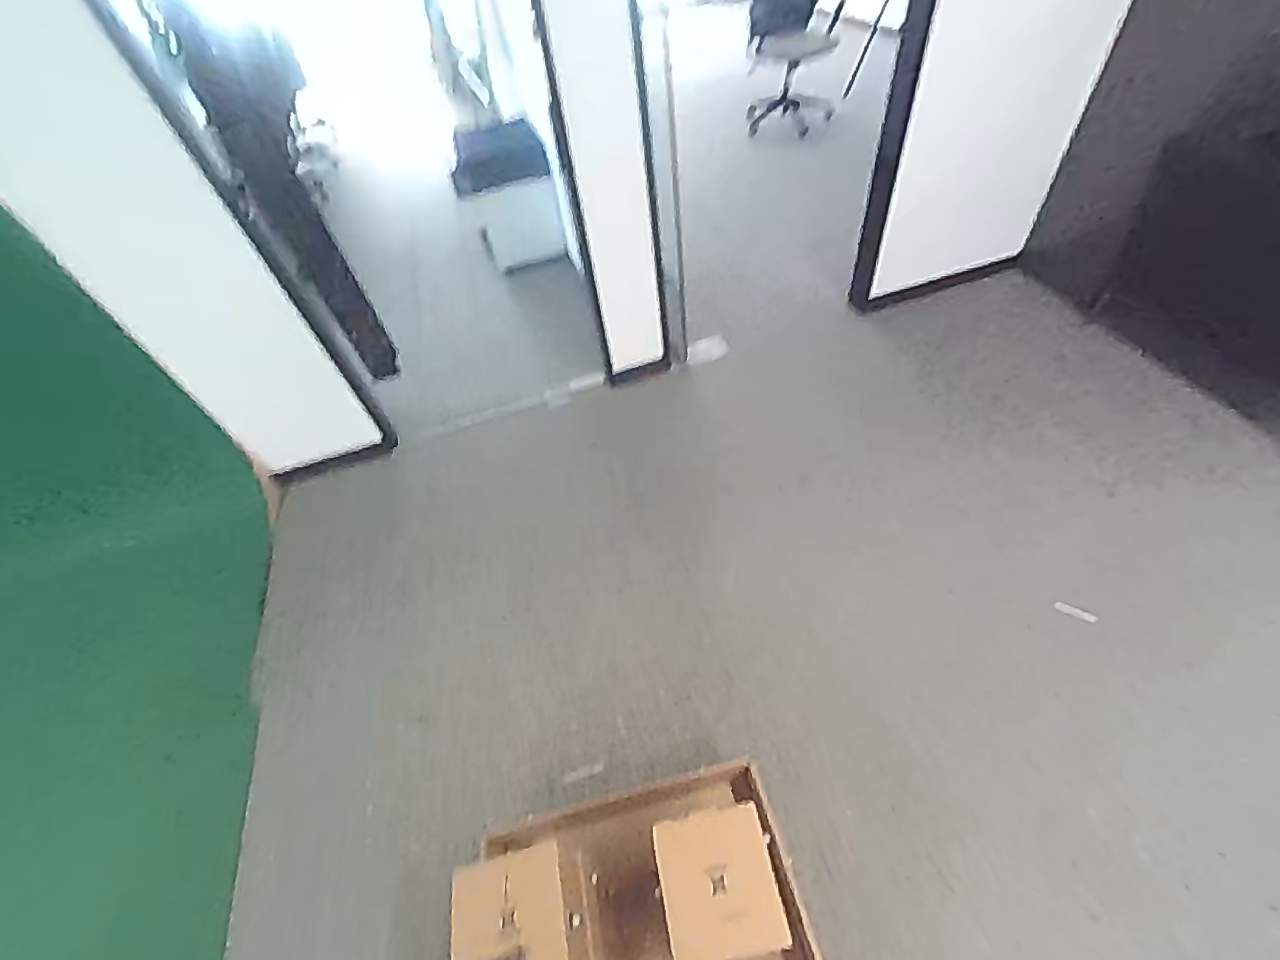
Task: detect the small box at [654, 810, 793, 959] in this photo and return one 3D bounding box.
[{"bbox_3d":[0.121,0.640,0.835,0.168,0.176,0.179,-12,49,-1],"label":"small box"}]

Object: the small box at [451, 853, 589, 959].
[{"bbox_3d":[-0.178,0.704,0.825,0.168,0.176,0.179,-14,46,-4],"label":"small box"}]

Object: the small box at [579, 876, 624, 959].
[{"bbox_3d":[-0.129,0.919,1.068,0.168,0.176,0.179,-14,47,-3],"label":"small box"}]
